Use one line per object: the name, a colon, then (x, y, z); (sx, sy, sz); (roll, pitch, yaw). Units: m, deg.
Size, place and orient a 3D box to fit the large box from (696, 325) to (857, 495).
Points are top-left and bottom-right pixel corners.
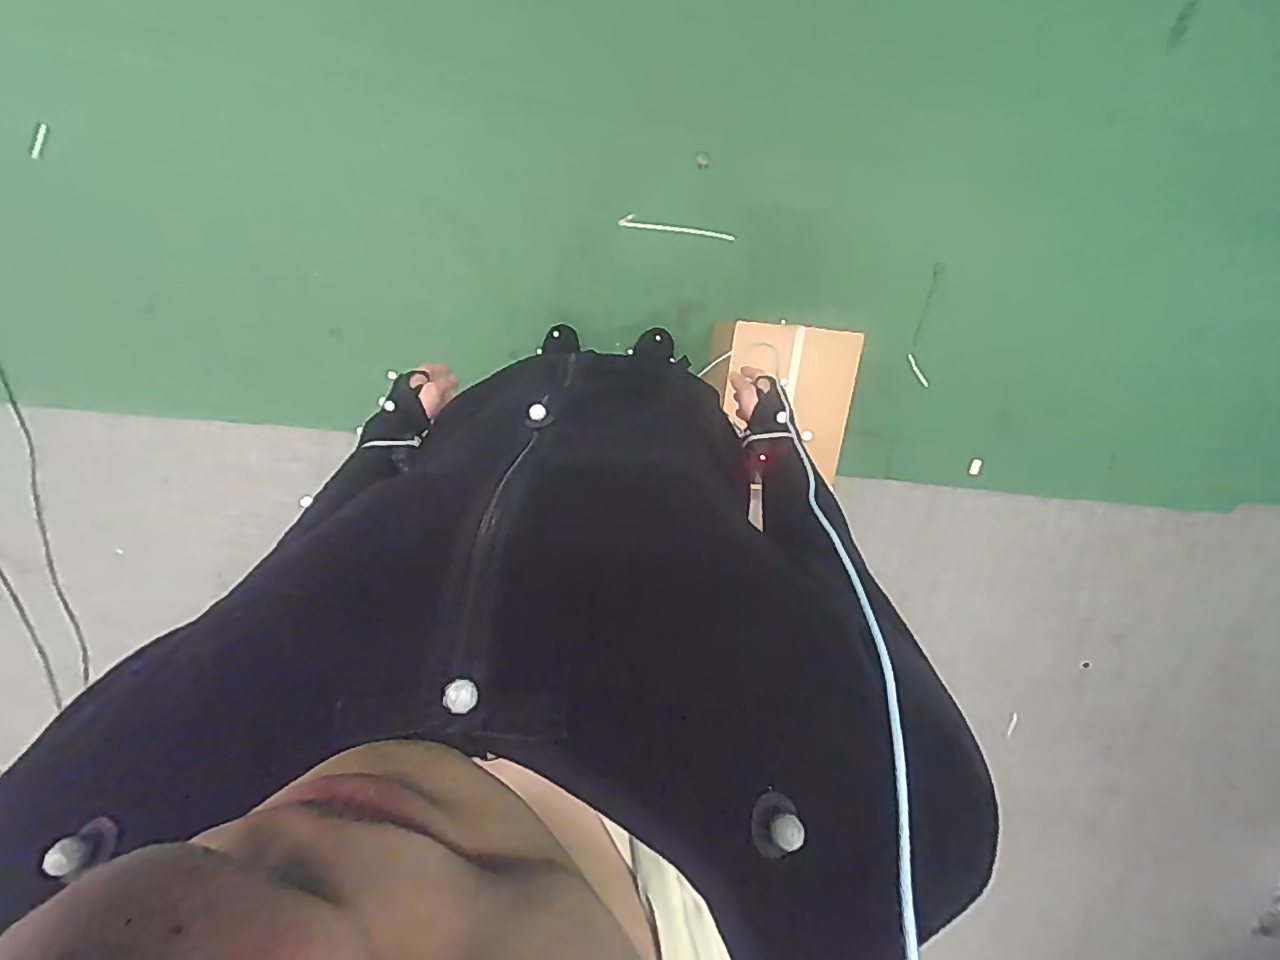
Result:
large box: (0.346, -0.205, 1.476); (0.320, 0.320, 0.408); (5, 107, -4)
